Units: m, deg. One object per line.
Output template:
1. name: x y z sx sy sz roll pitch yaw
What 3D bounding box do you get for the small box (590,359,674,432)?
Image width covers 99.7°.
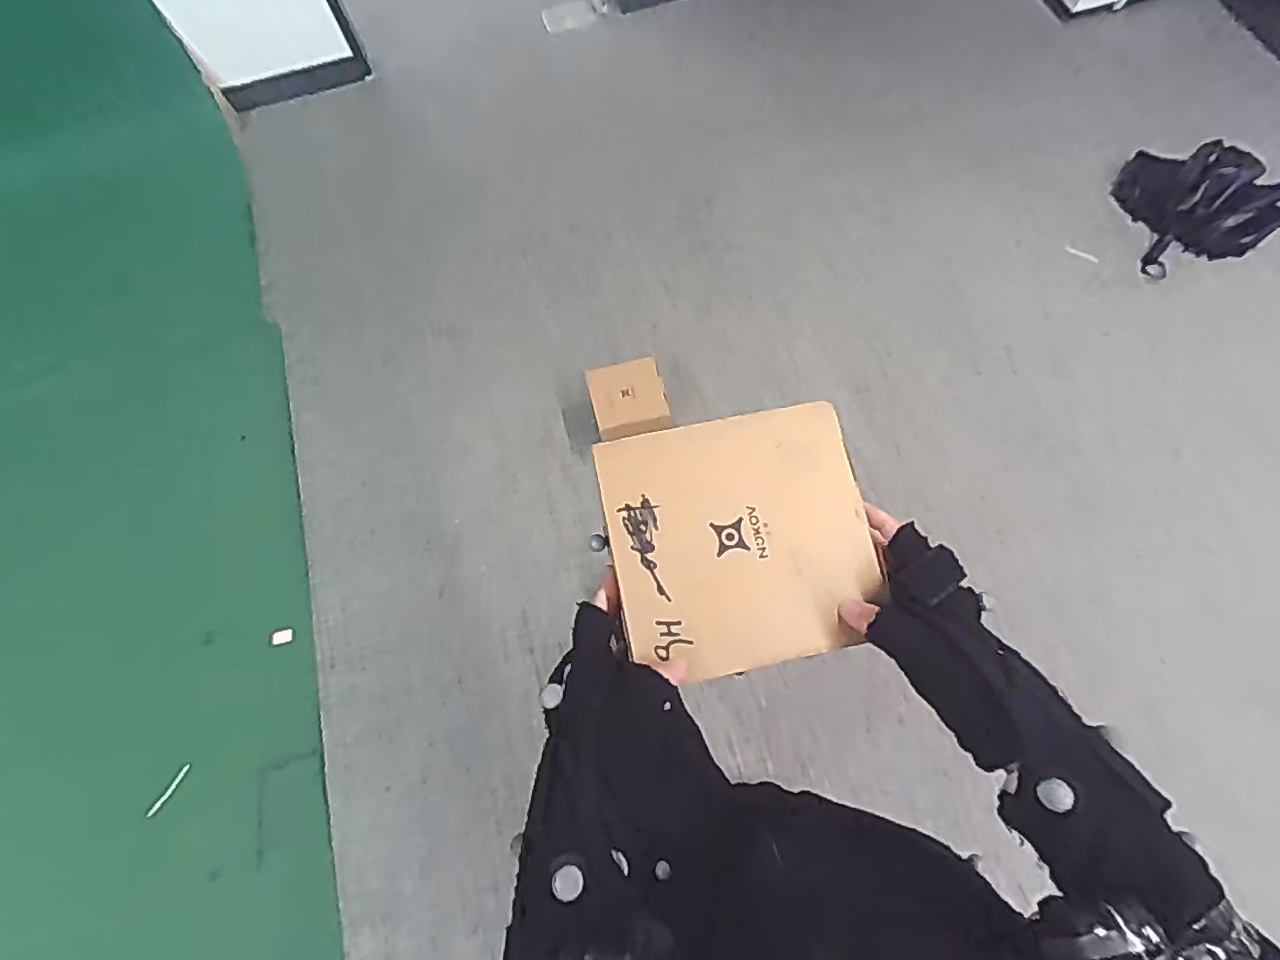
1. small box: -0.017 -0.179 1.381 0.179 0.176 0.168 -15 70 -1

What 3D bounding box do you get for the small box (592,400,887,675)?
1. small box: 0.061 0.052 0.442 0.179 0.176 0.168 -10 75 -5
